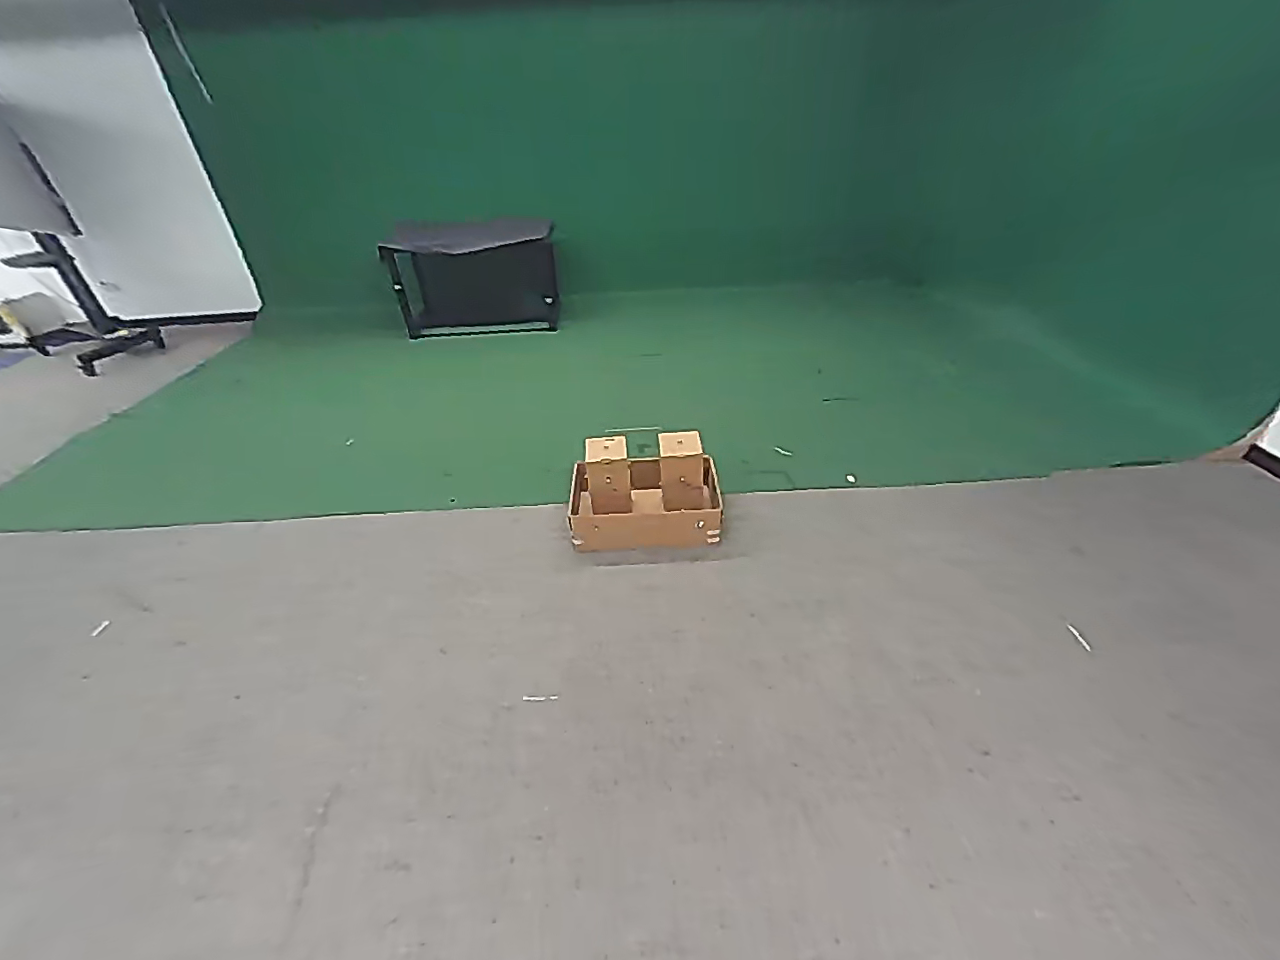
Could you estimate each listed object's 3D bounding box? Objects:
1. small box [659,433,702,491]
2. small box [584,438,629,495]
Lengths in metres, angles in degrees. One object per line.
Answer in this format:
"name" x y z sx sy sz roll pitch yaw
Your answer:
"small box" 0.162 -0.074 2.203 0.168 0.176 0.179 -4 37 1
"small box" -0.134 -0.050 2.197 0.168 0.176 0.179 -5 37 -2
